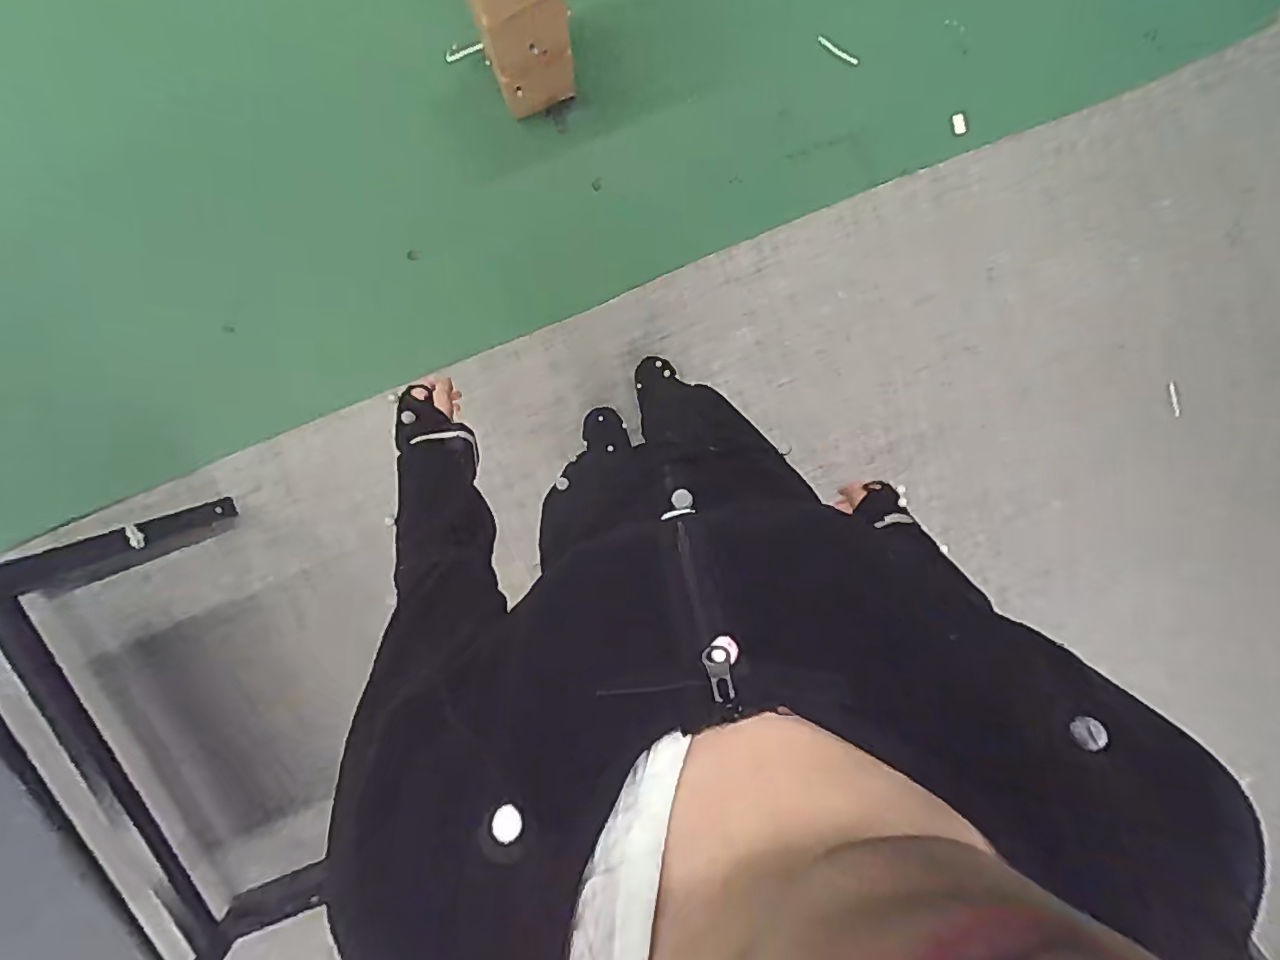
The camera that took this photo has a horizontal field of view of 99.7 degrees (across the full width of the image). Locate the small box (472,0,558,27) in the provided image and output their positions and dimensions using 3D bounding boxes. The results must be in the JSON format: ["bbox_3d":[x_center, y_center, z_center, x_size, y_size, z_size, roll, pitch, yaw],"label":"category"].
[{"bbox_3d":[-0.240,-0.930,0.921,0.168,0.176,0.179,-28,99,0],"label":"small box"}]

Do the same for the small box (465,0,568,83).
[{"bbox_3d":[-0.255,-0.956,1.081,0.168,0.176,0.179,-25,99,0],"label":"small box"}]
